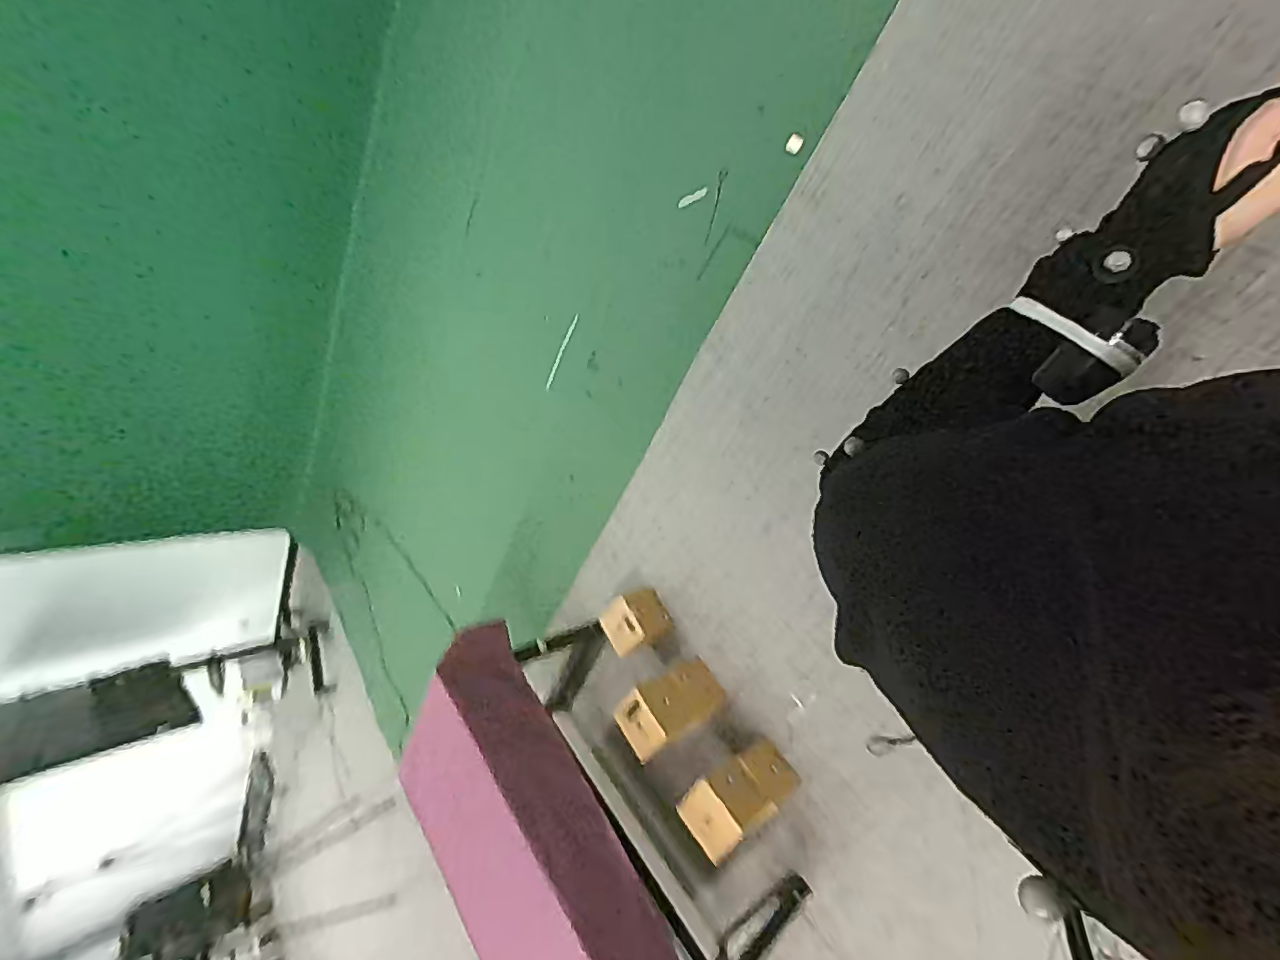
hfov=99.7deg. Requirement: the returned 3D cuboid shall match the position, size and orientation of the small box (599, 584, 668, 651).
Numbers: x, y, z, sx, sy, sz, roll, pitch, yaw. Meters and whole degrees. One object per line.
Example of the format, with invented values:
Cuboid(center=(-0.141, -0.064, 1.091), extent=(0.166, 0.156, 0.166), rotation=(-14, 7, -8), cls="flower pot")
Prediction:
Cuboid(center=(-0.017, 0.514, 2.043), extent=(0.179, 0.176, 0.168), rotation=(-52, 59, 33), cls="small box")
